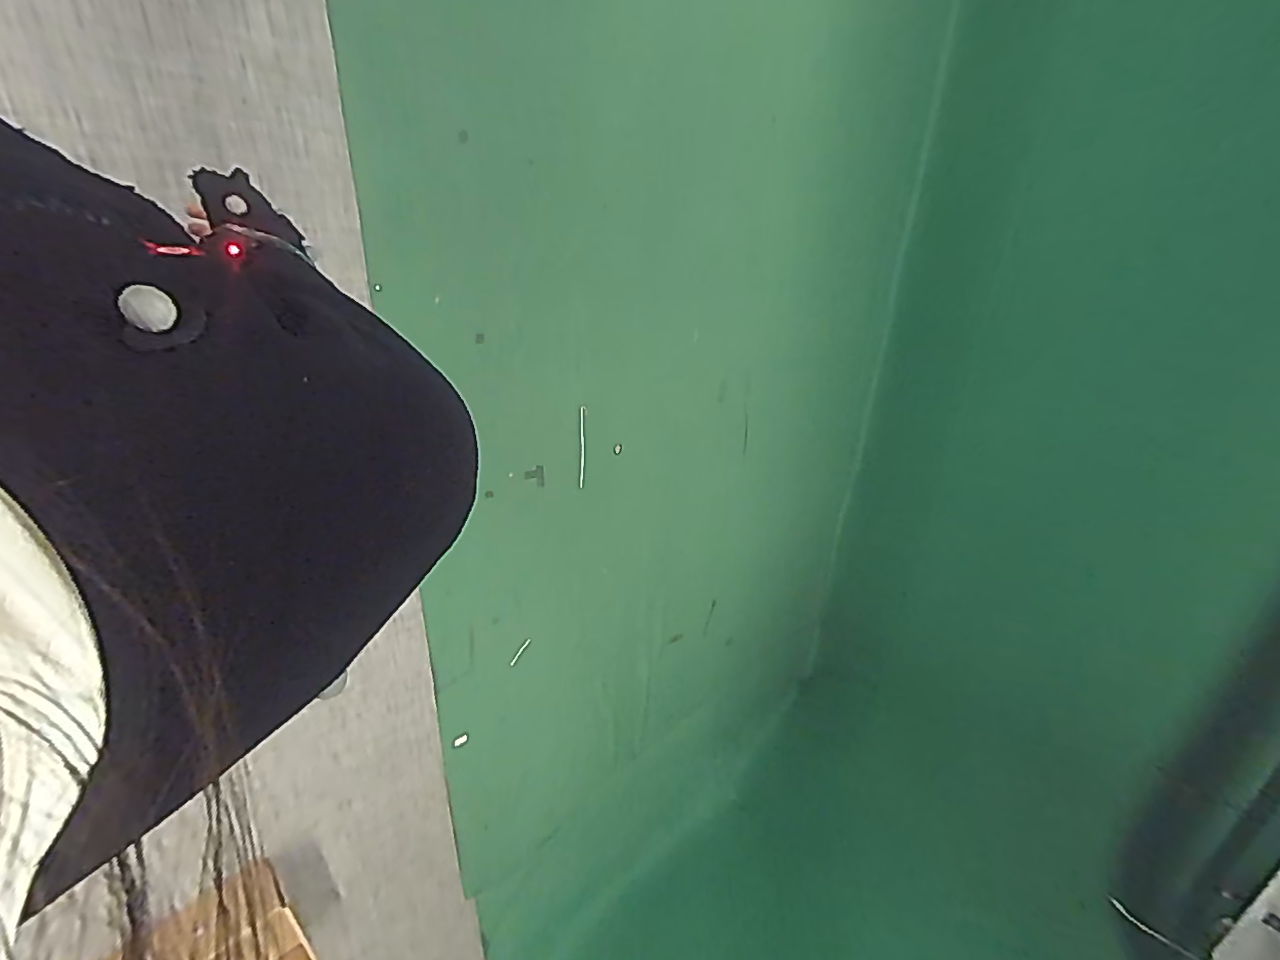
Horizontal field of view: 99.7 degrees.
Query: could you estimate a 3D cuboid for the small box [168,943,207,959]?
[{"bbox_3d":[-1.235,1.396,1.423,0.179,0.176,0.168,-25,127,-41],"label":"small box"}]
